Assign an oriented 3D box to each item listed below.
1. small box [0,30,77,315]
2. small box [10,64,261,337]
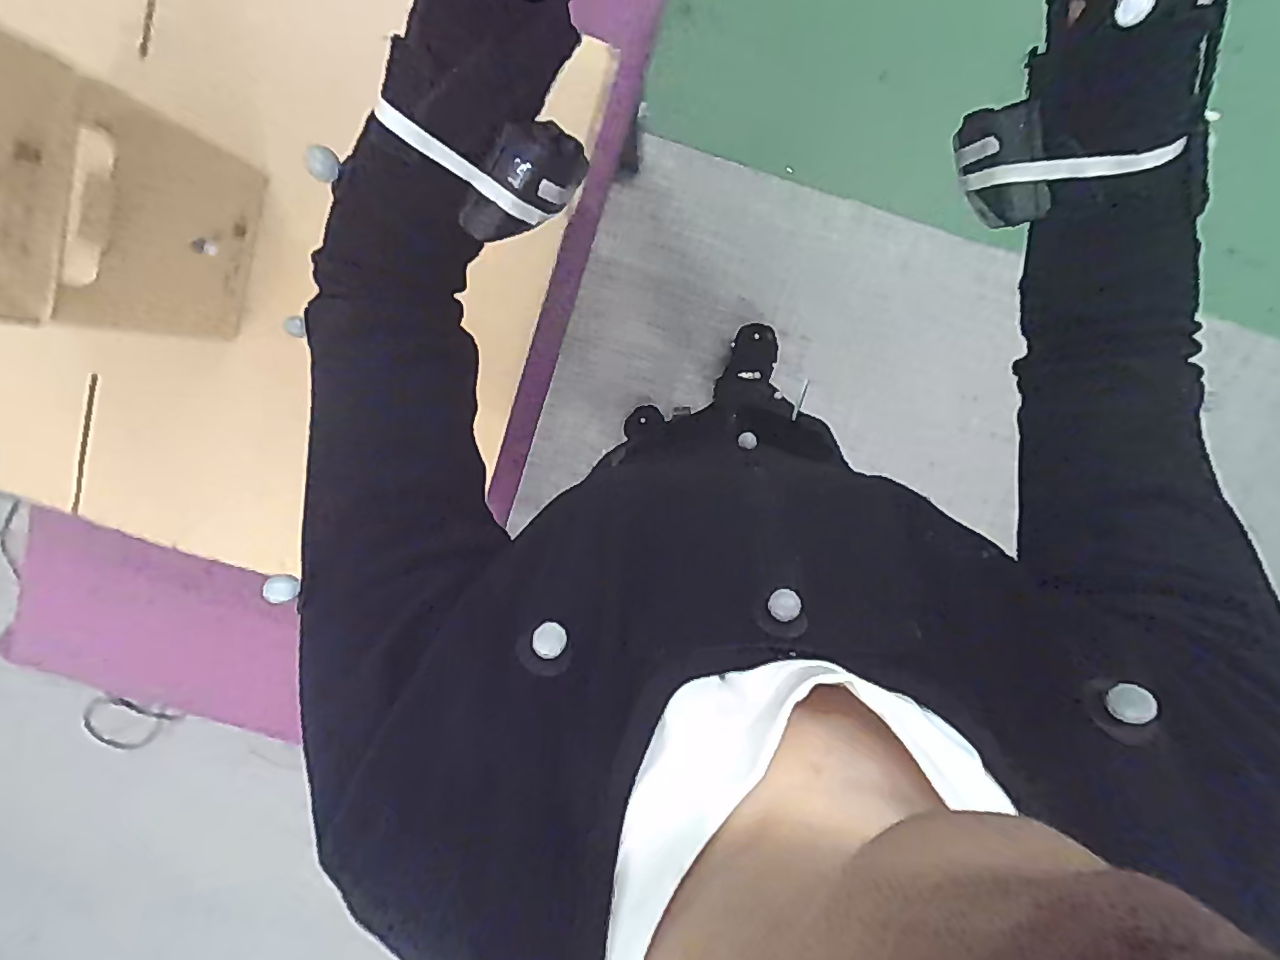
[{"bbox_3d":[-0.459,-0.192,0.268,0.179,0.176,0.168,17,100,-2],"label":"small box"},{"bbox_3d":[-0.455,-0.221,0.428,0.179,0.176,0.168,19,100,-3],"label":"small box"}]
